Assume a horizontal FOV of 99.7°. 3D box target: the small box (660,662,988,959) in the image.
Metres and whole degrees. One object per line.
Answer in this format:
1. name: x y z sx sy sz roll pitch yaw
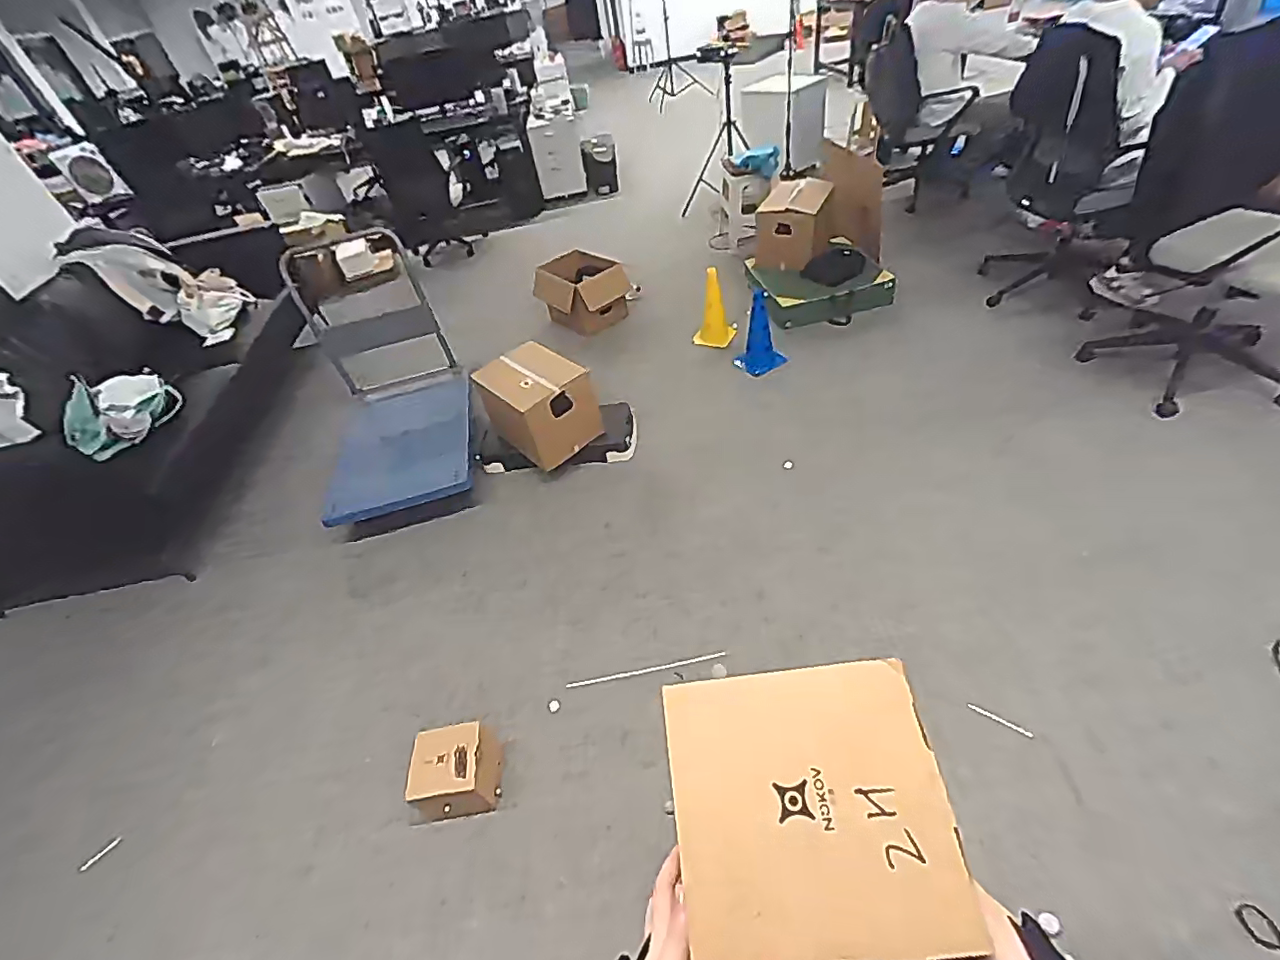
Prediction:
1. small box: 0.118 0.250 0.419 0.179 0.176 0.168 -8 60 4

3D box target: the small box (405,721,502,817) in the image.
1. small box: -0.470 0.747 1.395 0.179 0.176 0.168 -11 44 3
